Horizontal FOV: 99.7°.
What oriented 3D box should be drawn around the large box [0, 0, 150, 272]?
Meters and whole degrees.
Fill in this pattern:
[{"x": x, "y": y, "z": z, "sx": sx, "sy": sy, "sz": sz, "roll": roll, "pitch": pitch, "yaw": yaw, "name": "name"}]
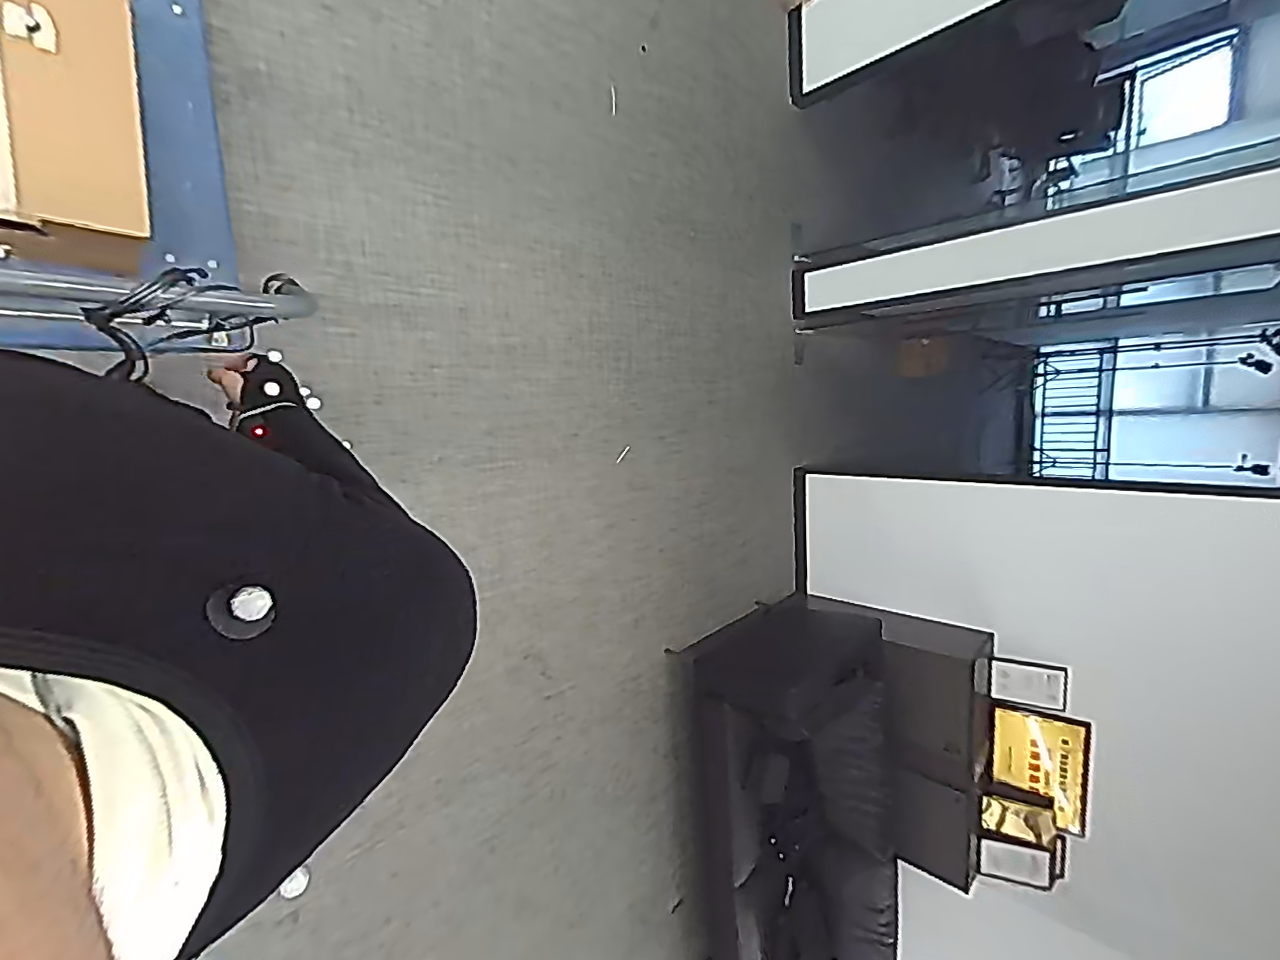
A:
[{"x": -1.017, "y": -0.587, "z": 0.856, "sx": 0.320, "sy": 0.320, "sz": 0.408, "roll": -6, "pitch": 98, "yaw": -46, "name": "large box"}]
